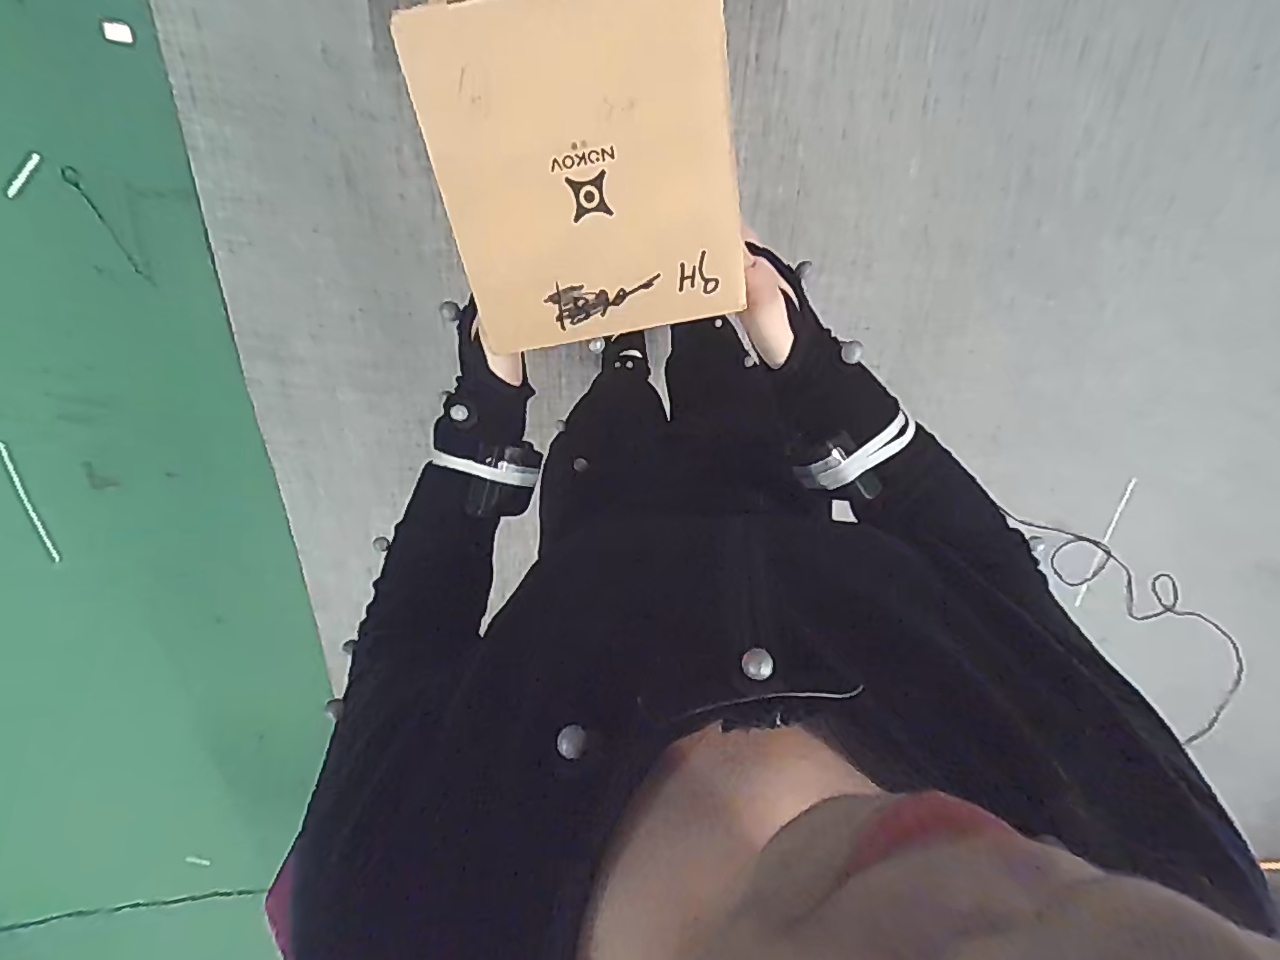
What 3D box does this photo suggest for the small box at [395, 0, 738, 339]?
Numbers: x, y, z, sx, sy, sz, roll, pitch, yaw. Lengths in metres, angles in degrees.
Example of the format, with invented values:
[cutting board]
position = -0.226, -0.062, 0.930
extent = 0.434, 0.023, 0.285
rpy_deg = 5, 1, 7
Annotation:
[small box]
position = -0.033, -0.212, 0.374
extent = 0.168, 0.176, 0.179
rpy_deg = -8, 117, 4
